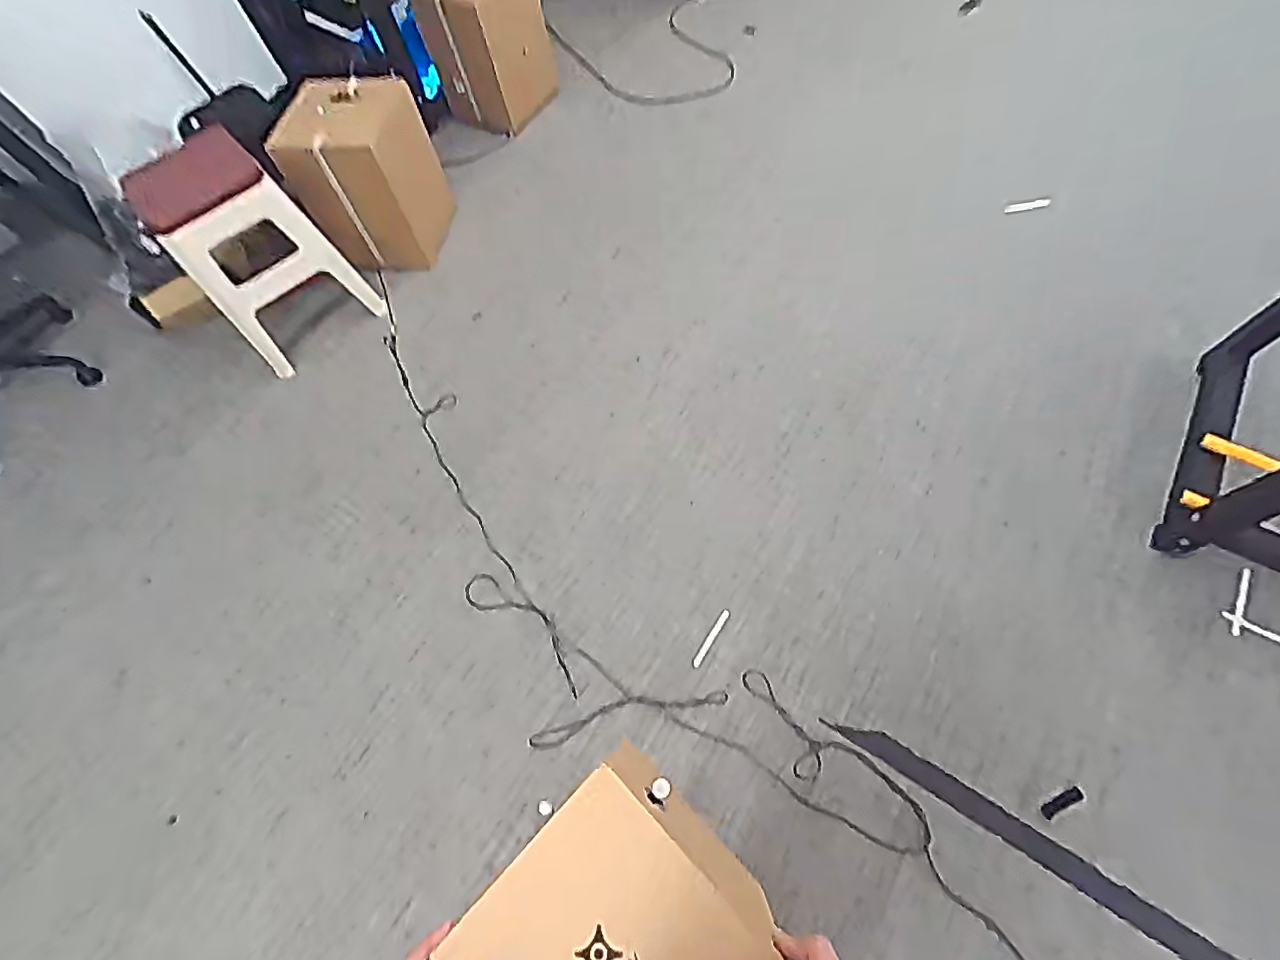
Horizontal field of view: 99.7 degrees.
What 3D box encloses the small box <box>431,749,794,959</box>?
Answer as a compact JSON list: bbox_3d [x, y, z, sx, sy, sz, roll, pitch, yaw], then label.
[{"bbox_3d":[-0.013,0.331,0.410,0.179,0.176,0.168,41,79,18],"label":"small box"}]
